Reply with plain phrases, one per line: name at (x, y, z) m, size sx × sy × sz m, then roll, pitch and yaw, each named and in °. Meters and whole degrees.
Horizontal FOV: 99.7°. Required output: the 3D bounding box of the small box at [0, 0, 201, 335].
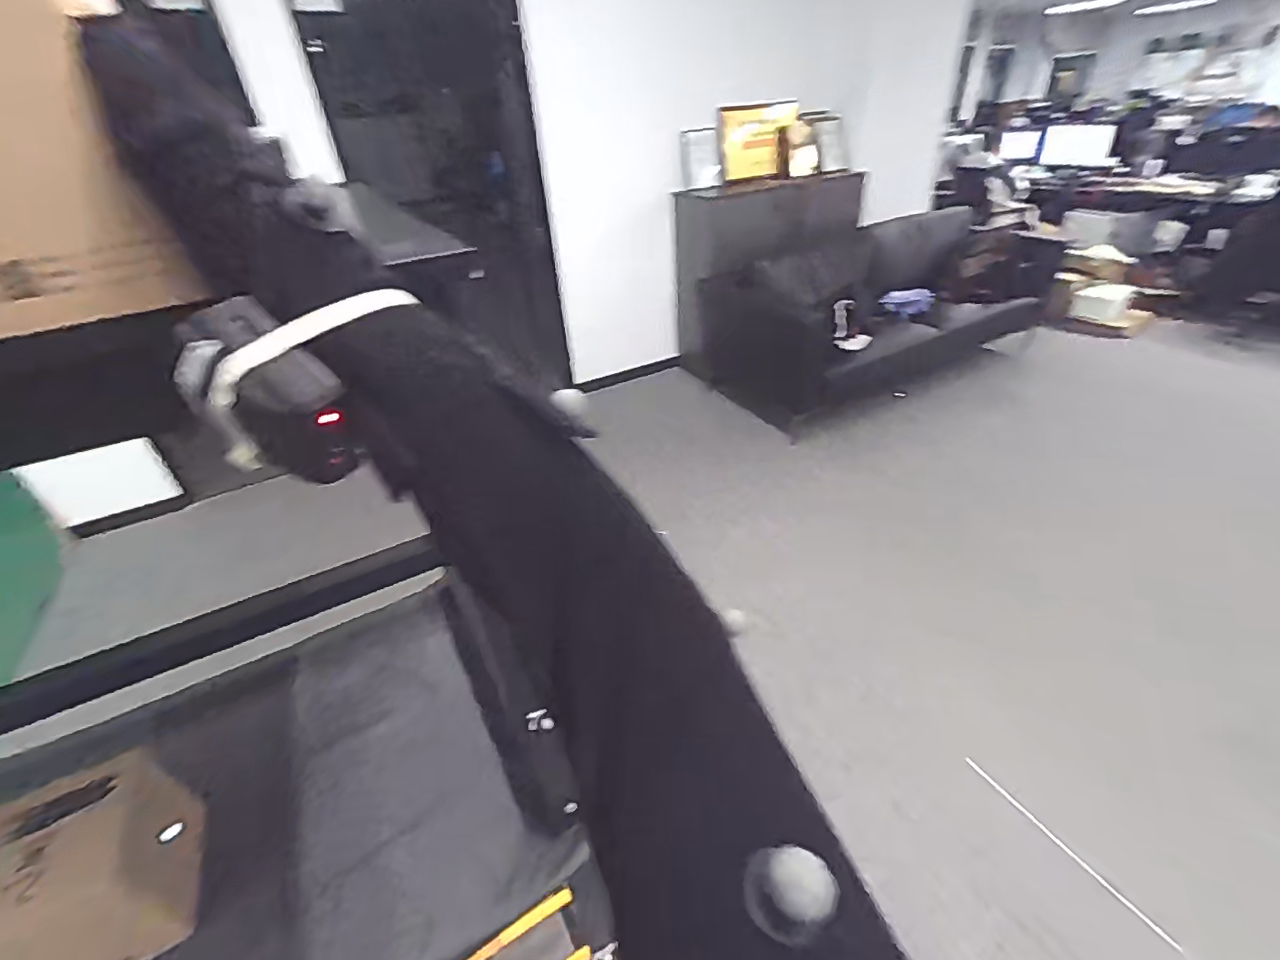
small box at (-0.329, -0.159, 0.236) m, size 0.168 × 0.176 × 0.179 m, roll -24°, pitch 38°, yaw -25°
